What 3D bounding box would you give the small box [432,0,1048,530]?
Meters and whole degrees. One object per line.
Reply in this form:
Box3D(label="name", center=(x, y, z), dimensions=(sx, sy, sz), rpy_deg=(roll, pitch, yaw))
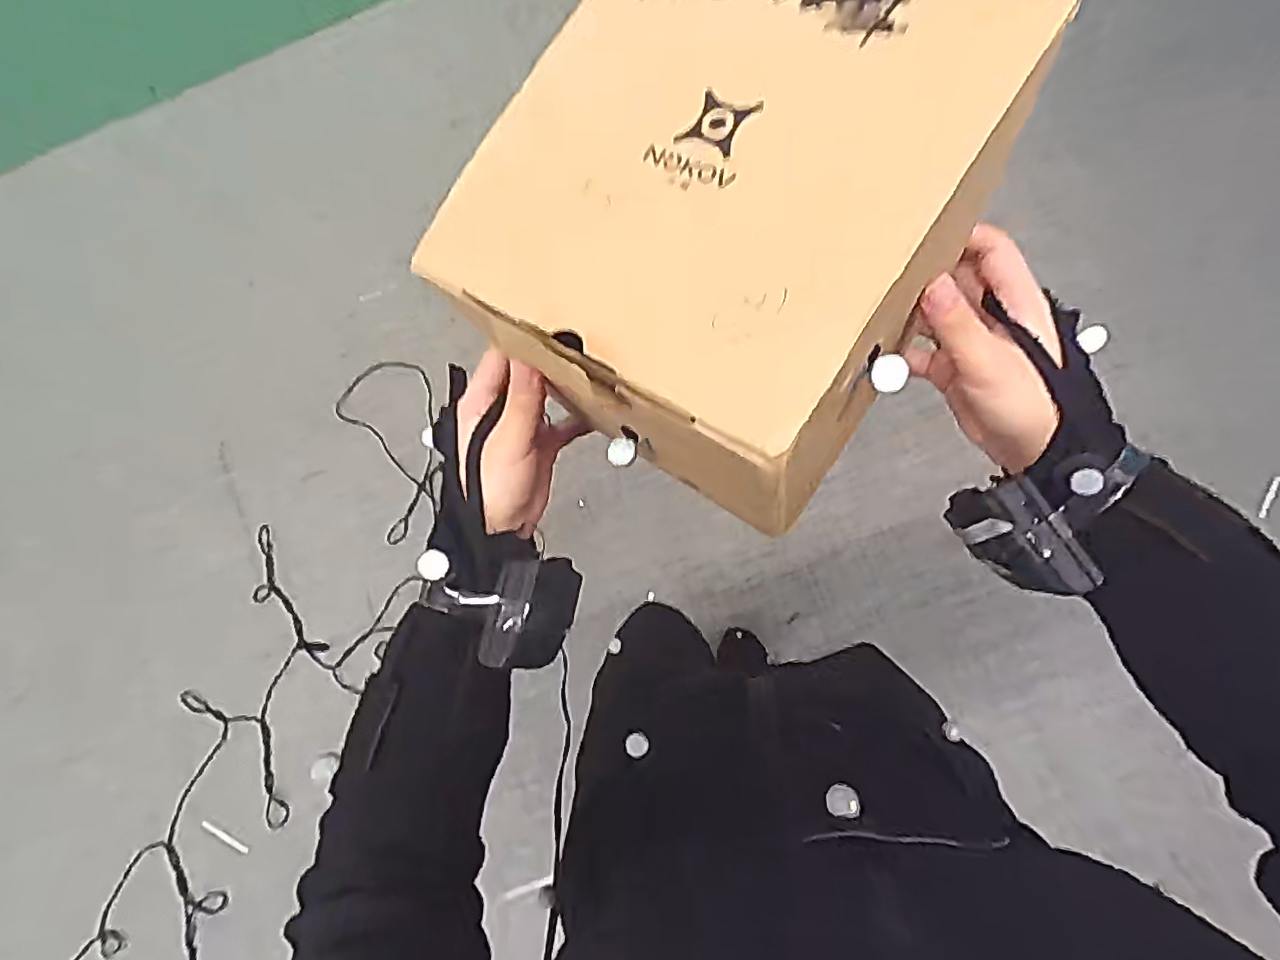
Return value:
Box3D(label="small box", center=(0.045, -0.092, 0.272), dimensions=(0.168, 0.176, 0.179), rpy_deg=(32, 87, 20))
